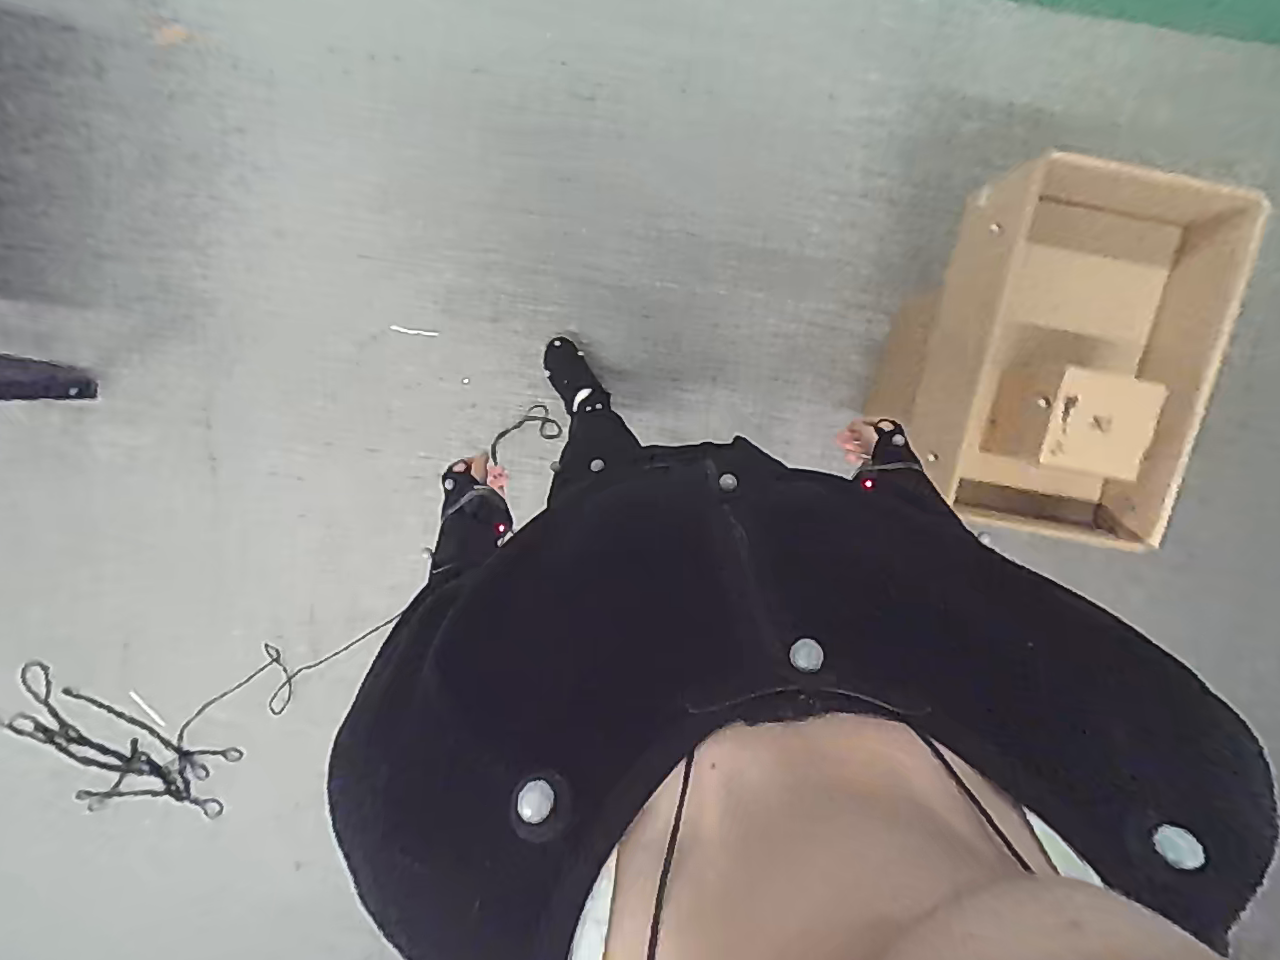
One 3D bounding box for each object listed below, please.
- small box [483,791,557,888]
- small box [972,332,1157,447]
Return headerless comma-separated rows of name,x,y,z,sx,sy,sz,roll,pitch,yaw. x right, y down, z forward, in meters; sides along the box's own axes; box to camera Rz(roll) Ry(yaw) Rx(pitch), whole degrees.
small box,-0.345,1.037,1.573,0.179,0.176,0.168,5,99,-2
small box,0.741,-0.158,0.964,0.179,0.176,0.168,8,97,-2
